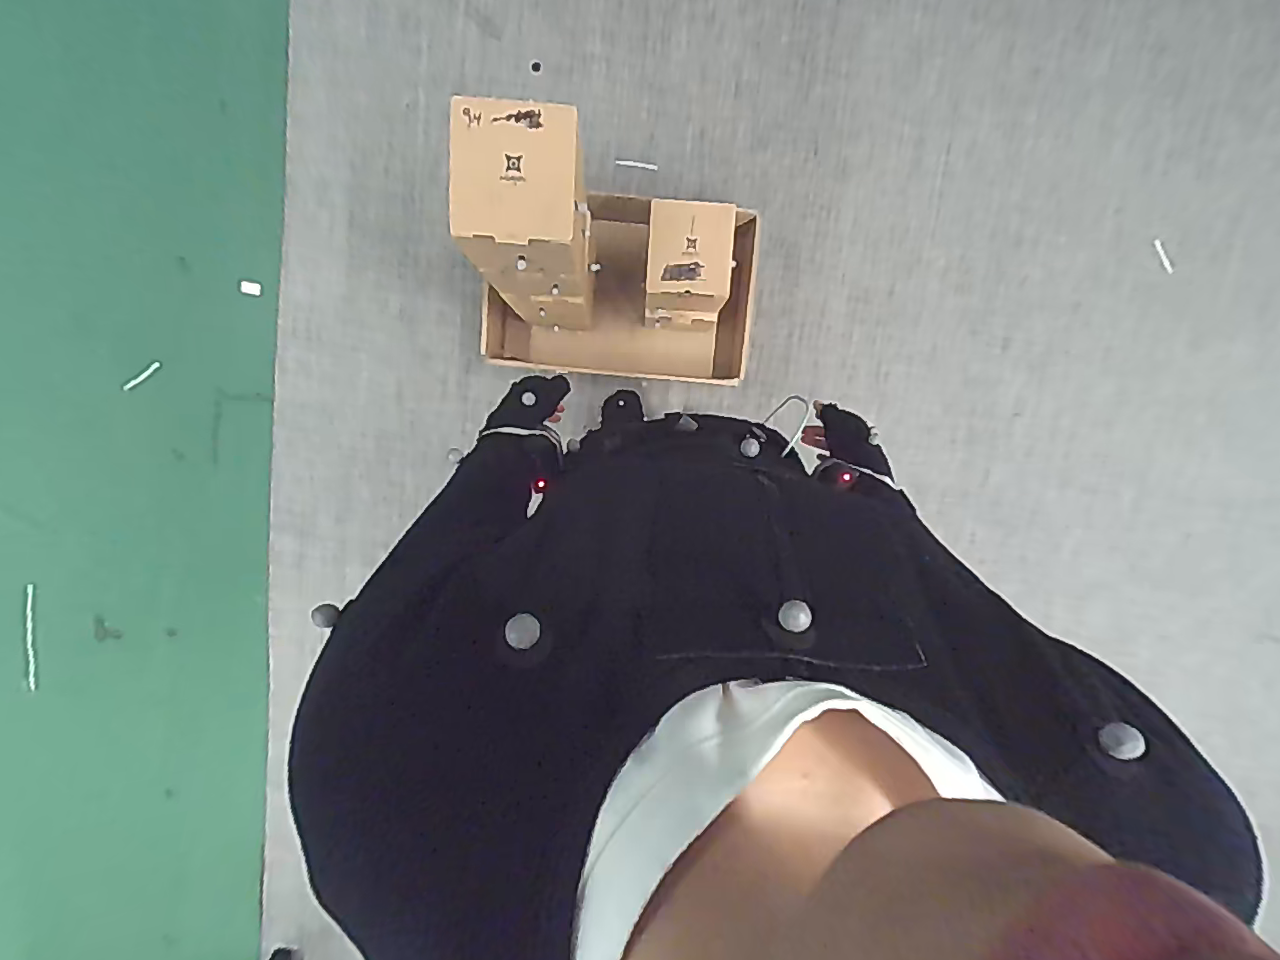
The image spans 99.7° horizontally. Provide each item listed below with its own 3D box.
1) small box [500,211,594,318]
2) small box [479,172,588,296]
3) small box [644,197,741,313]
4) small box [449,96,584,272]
[{"bbox_3d":[-0.185,-0.444,1.113,0.168,0.176,0.179,5,97,-3],"label":"small box"},{"bbox_3d":[-0.179,-0.430,0.950,0.168,0.176,0.179,3,97,-4],"label":"small box"},{"bbox_3d":[0.100,-0.450,1.113,0.168,0.176,0.179,6,97,-3],"label":"small box"},{"bbox_3d":[-0.170,-0.413,0.787,0.168,0.176,0.179,3,98,-4],"label":"small box"}]
